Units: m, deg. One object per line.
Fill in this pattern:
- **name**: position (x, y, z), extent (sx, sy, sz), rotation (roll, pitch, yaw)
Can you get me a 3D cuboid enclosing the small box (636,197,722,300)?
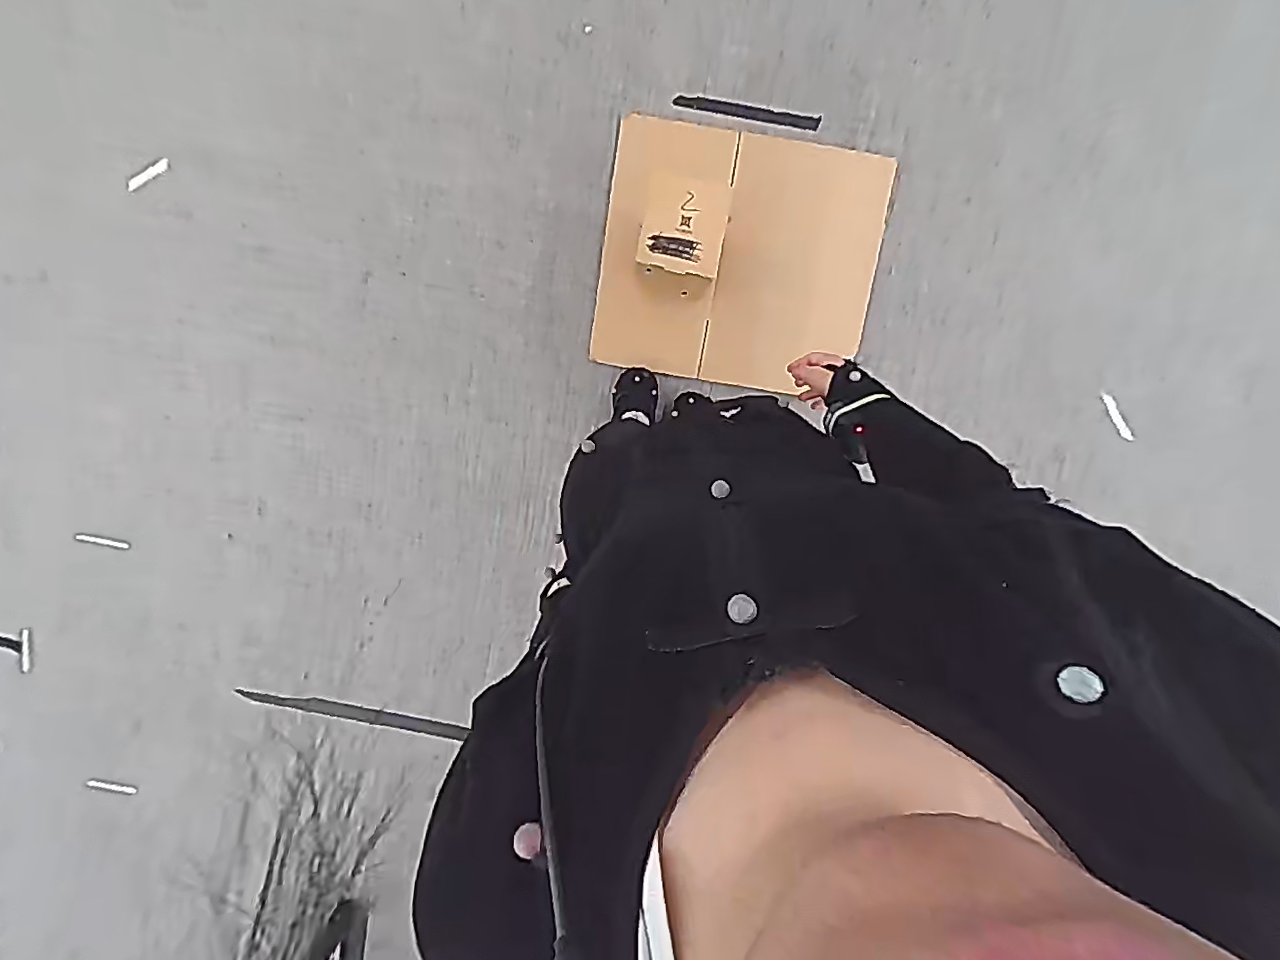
- **small box**: position (0.089, -0.548, 1.306), extent (0.168, 0.176, 0.179), rotation (13, 99, -3)
